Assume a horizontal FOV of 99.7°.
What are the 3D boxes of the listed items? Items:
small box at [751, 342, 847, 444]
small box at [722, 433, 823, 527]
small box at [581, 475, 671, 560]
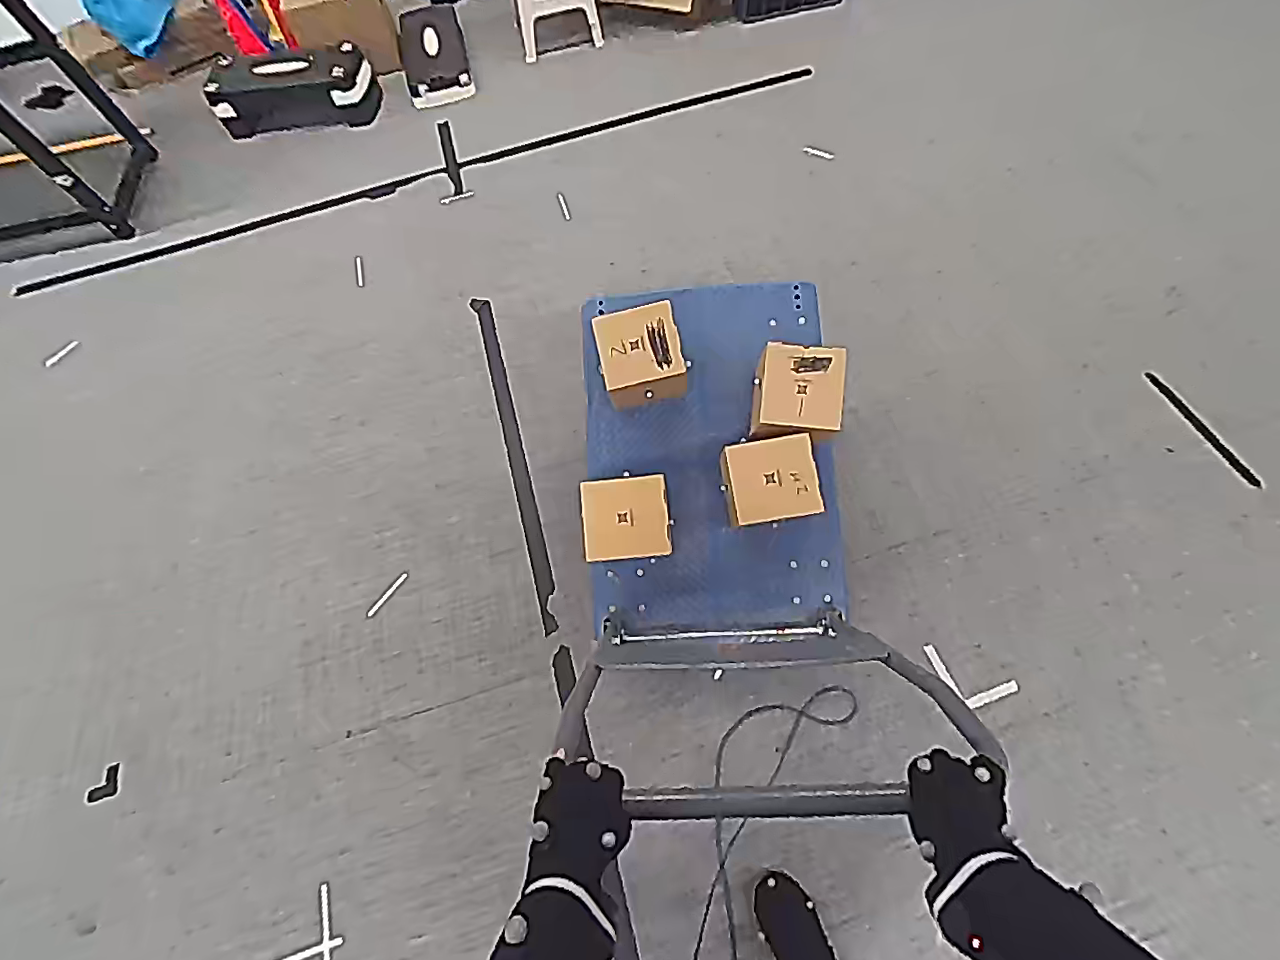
[{"bbox_3d":[0.341,-0.185,1.187,0.168,0.176,0.179,6,85,6],"label":"small box"},{"bbox_3d":[0.277,0.007,1.169,0.179,0.176,0.168,-9,83,3],"label":"small box"},{"bbox_3d":[-0.025,0.087,1.184,0.179,0.176,0.168,-6,83,2],"label":"small box"}]
